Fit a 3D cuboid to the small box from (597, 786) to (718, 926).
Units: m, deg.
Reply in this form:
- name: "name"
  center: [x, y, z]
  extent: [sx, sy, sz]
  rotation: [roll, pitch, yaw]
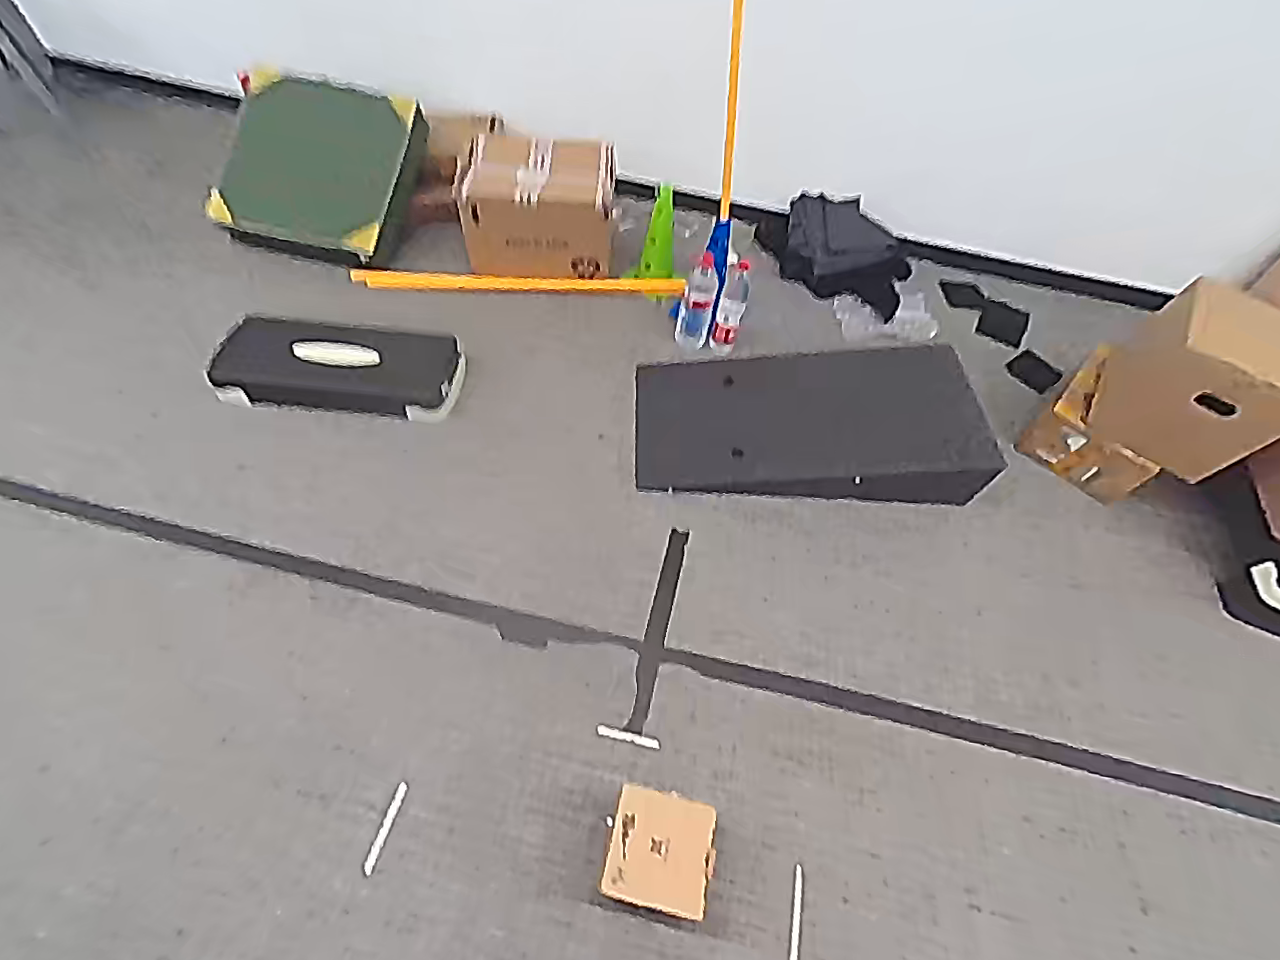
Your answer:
- name: "small box"
  center: [0.028, 0.675, 0.984]
  extent: [0.179, 0.176, 0.168]
  rotation: [15, 56, 3]
